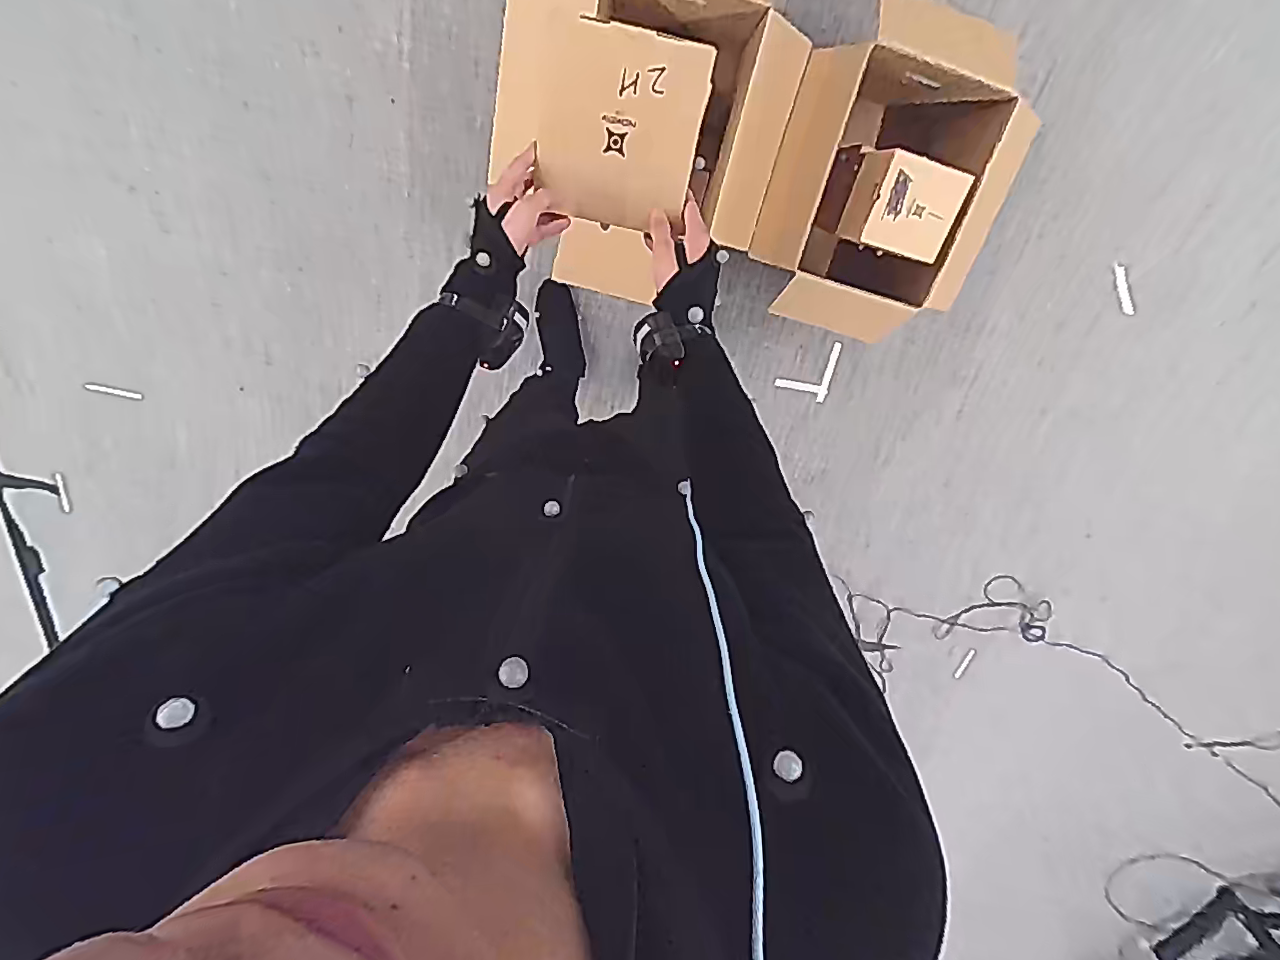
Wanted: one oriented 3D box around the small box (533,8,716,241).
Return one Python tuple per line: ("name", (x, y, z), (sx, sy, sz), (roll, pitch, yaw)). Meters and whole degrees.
("small box", (-0.019, -0.393, 0.619), (0.168, 0.176, 0.179), (10, 120, -5))
